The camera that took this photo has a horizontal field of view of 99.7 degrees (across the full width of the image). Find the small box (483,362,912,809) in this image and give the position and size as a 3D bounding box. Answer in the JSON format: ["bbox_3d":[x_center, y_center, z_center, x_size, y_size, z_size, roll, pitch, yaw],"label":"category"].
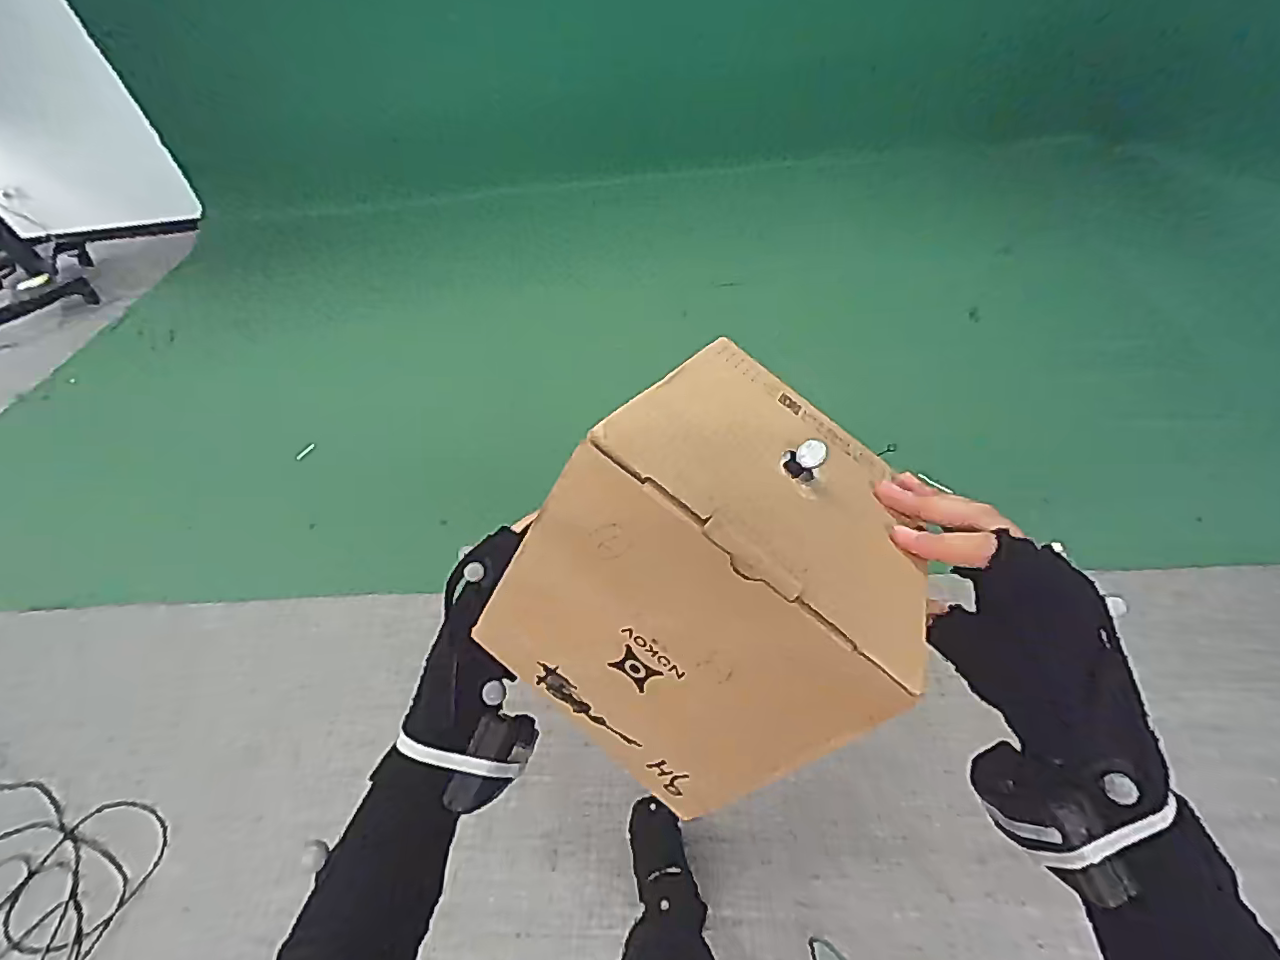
[{"bbox_3d":[0.040,0.052,0.337,0.168,0.179,0.176,40,37,6],"label":"small box"}]
